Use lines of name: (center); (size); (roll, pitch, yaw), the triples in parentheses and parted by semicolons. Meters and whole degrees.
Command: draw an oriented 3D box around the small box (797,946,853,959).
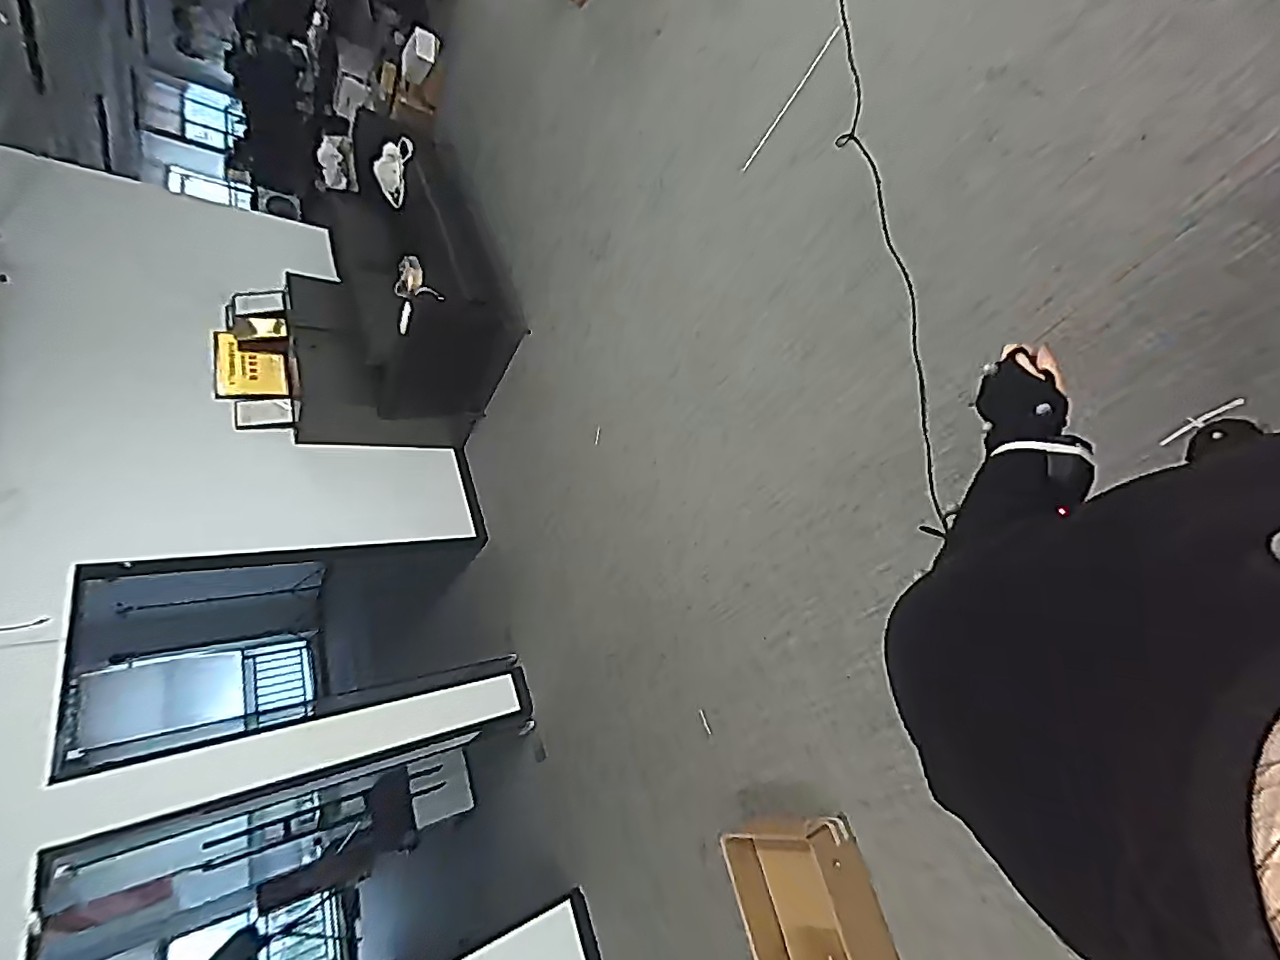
small box: (0.549, 1.519, 1.578); (0.168, 0.176, 0.179); (-38, 61, 43)
